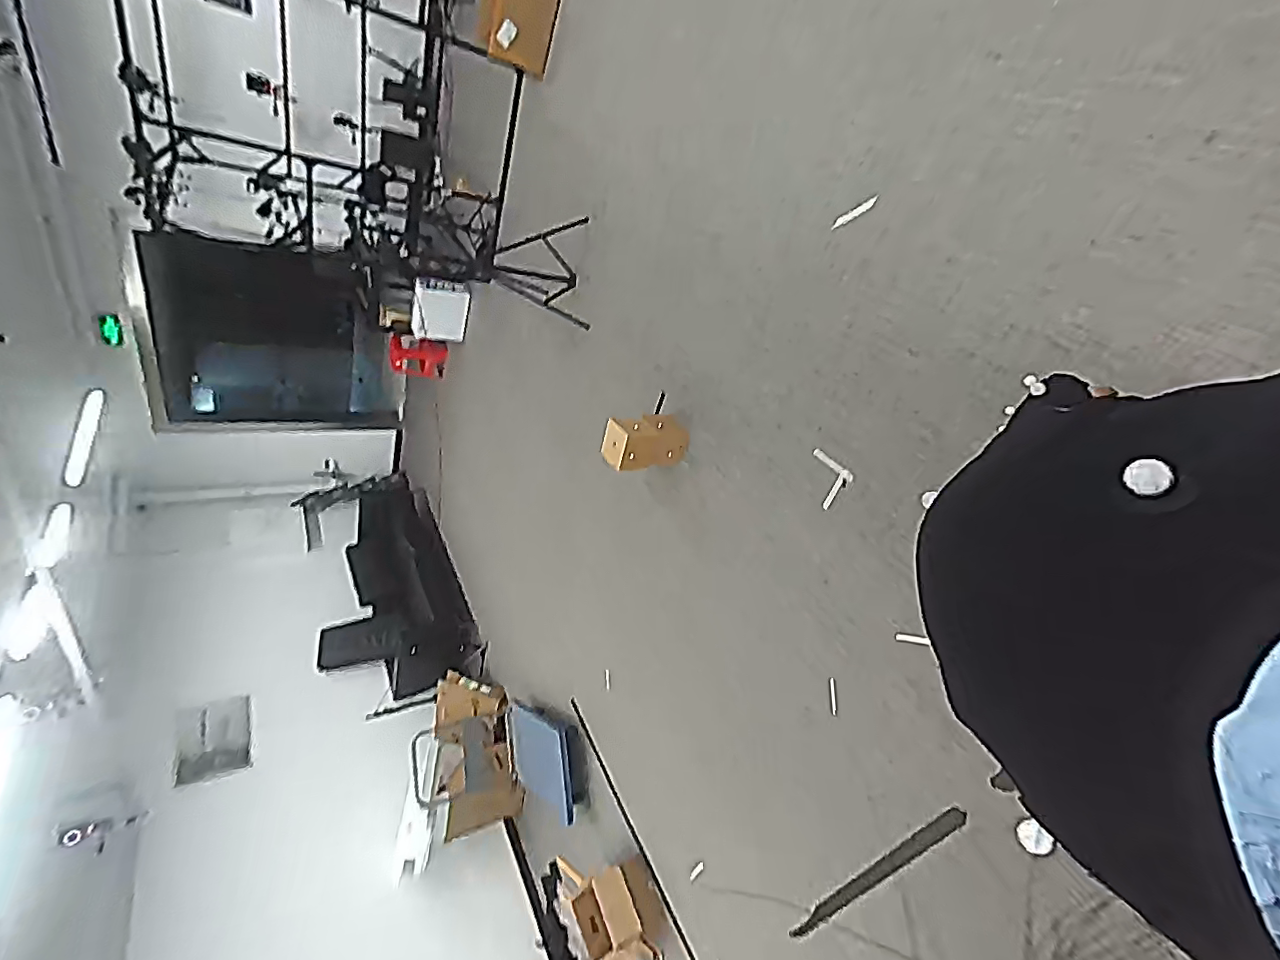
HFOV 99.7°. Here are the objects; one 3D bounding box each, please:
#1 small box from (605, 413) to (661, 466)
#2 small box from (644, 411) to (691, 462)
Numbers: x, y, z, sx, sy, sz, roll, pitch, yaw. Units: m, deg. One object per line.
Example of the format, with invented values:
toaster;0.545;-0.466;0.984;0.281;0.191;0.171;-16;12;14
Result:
small box;-0.027;-0.179;2.343;0.168;0.176;0.179;46;130;43
small box;0.105;-0.201;2.437;0.179;0.176;0.168;55;135;38
